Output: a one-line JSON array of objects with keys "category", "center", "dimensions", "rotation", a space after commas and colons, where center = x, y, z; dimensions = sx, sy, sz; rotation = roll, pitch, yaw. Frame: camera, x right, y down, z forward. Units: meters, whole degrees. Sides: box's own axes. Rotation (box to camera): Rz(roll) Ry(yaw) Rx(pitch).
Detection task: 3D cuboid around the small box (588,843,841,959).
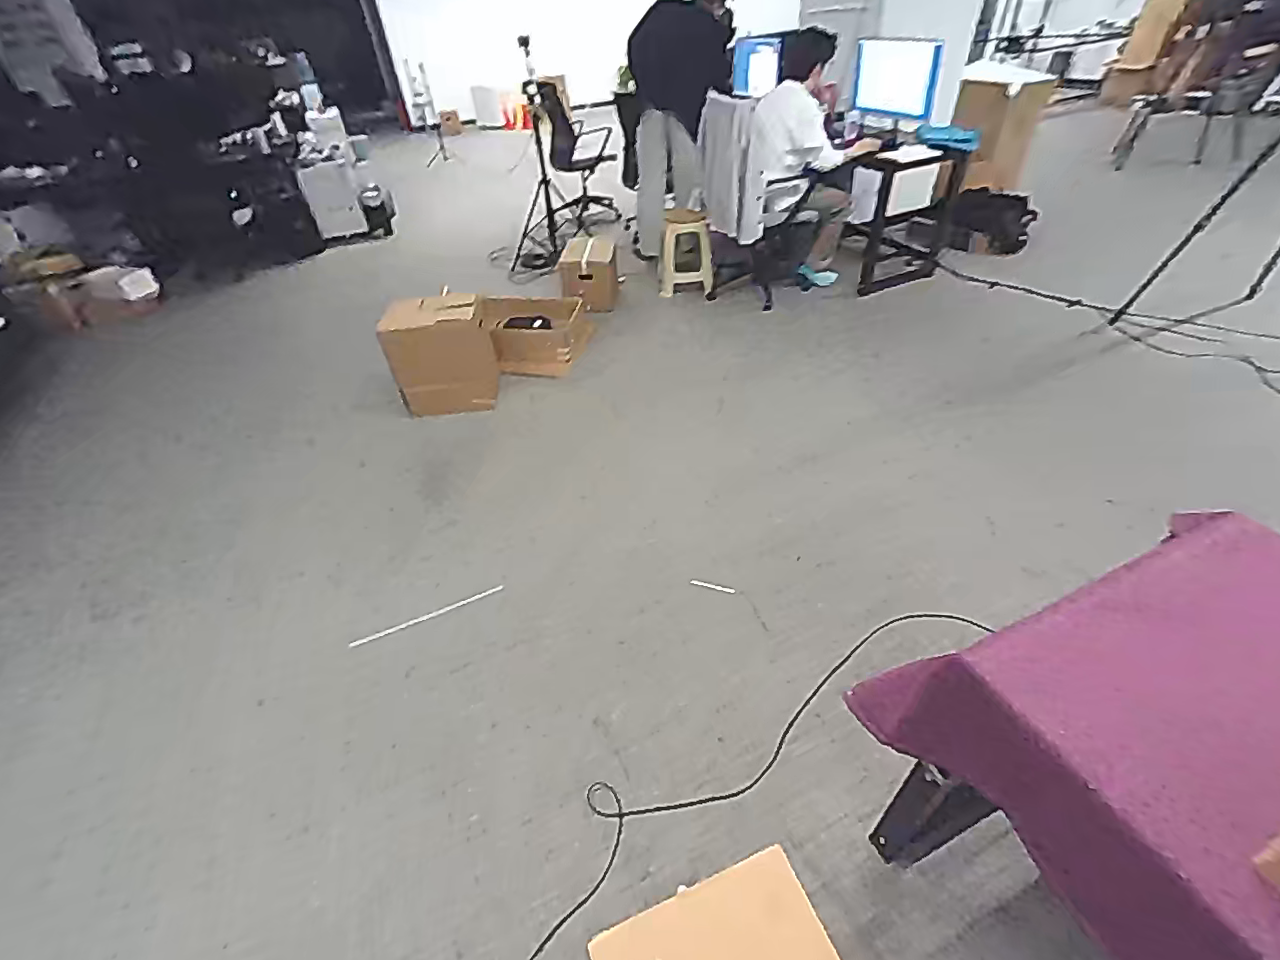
[{"category": "small box", "center": [0.064, 0.436, 0.430], "dimensions": [0.179, 0.176, 0.168], "rotation": [-11, 44, -20]}]
